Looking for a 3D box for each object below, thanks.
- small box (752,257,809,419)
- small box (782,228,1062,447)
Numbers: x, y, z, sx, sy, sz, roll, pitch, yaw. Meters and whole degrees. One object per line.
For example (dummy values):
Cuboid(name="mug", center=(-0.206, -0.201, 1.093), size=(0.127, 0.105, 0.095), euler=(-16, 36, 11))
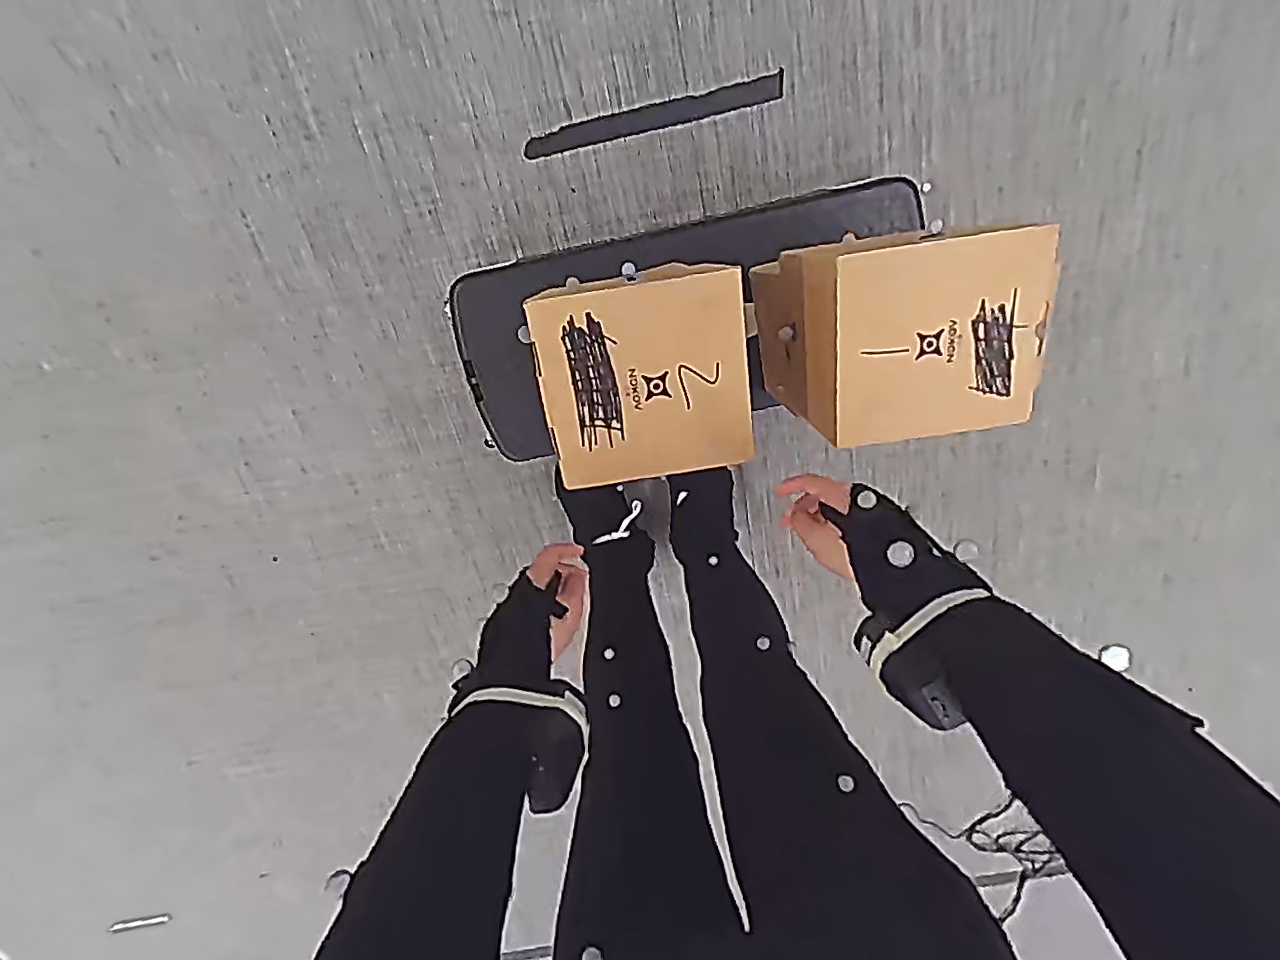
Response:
Cuboid(name="small box", center=(0.248, -0.197, 0.682), size=(0.168, 0.176, 0.179), euler=(-13, 113, 3))
Cuboid(name="small box", center=(0.249, -0.146, 0.525), size=(0.179, 0.176, 0.168), euler=(-8, 113, 2))
